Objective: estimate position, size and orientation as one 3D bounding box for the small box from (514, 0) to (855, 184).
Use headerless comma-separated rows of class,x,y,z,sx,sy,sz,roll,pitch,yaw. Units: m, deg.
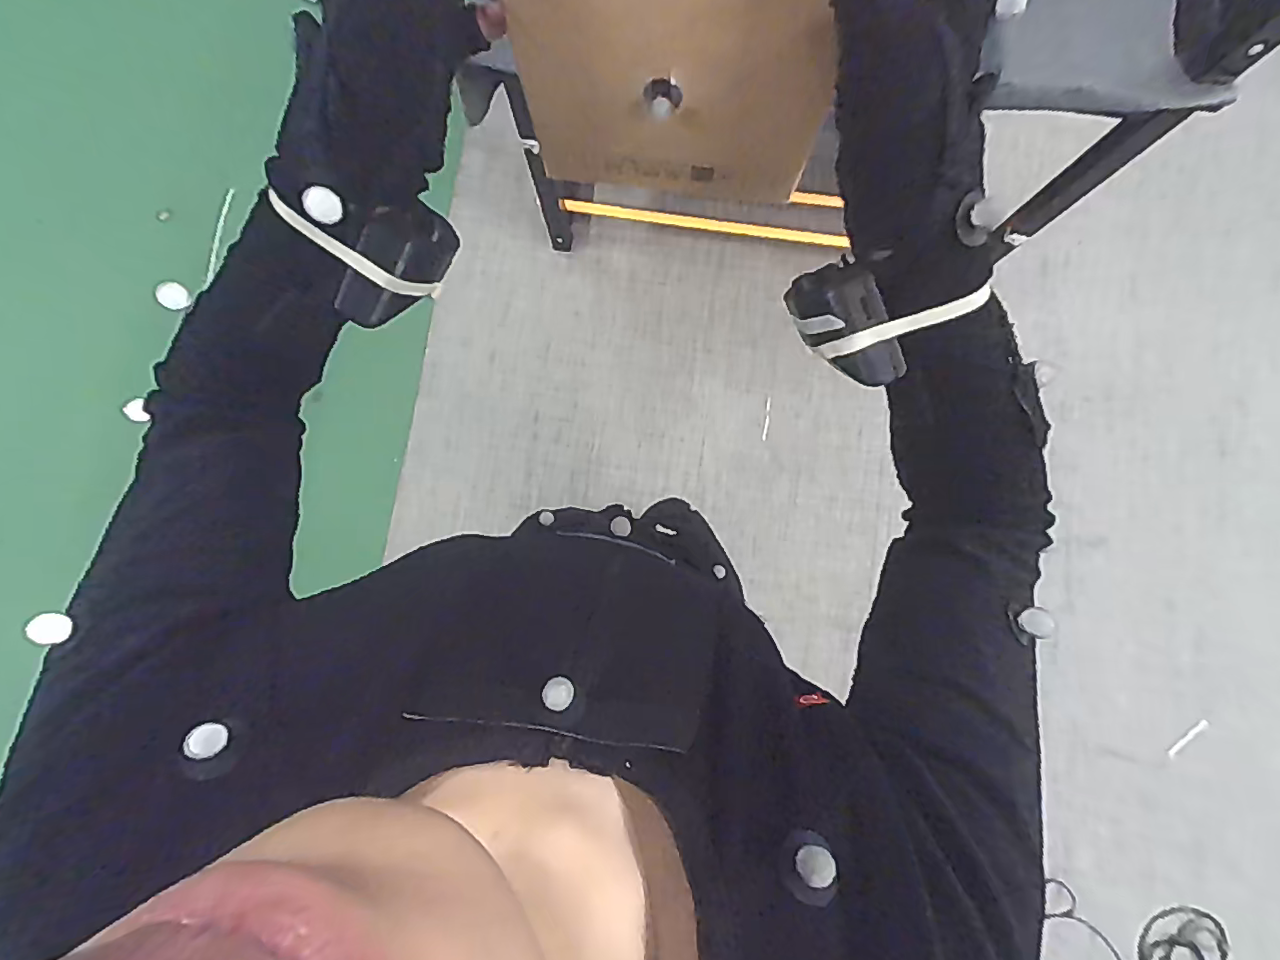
small box,0.030,-0.297,0.296,0.168,0.176,0.179,7,83,1
